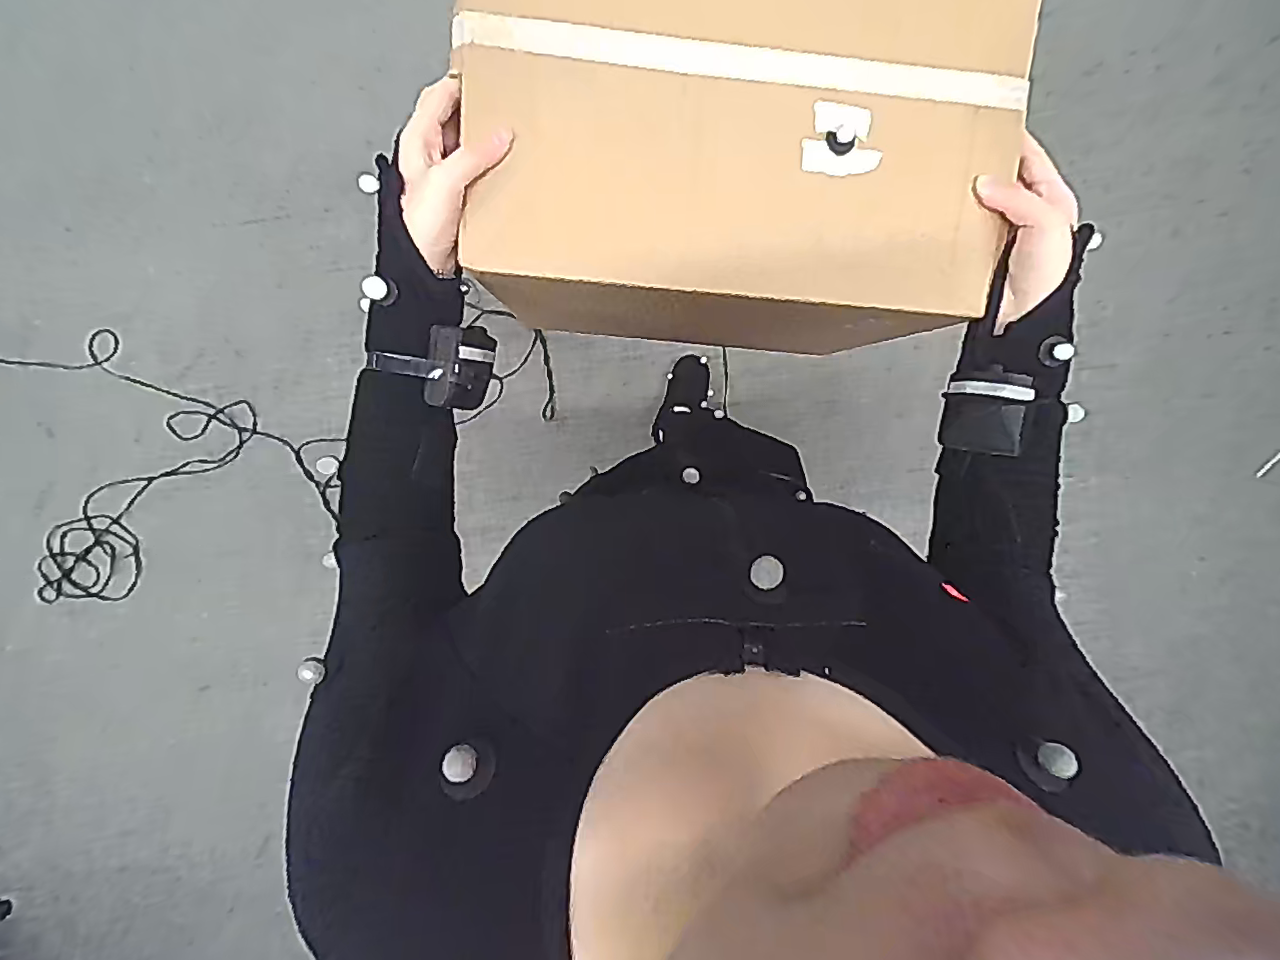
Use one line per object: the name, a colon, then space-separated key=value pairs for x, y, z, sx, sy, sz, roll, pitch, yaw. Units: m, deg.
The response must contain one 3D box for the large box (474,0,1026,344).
large box: x=0.070 y=-0.321 z=0.539 sx=0.408 sy=0.320 sz=0.320 roll=3 pitch=98 yaw=-5
